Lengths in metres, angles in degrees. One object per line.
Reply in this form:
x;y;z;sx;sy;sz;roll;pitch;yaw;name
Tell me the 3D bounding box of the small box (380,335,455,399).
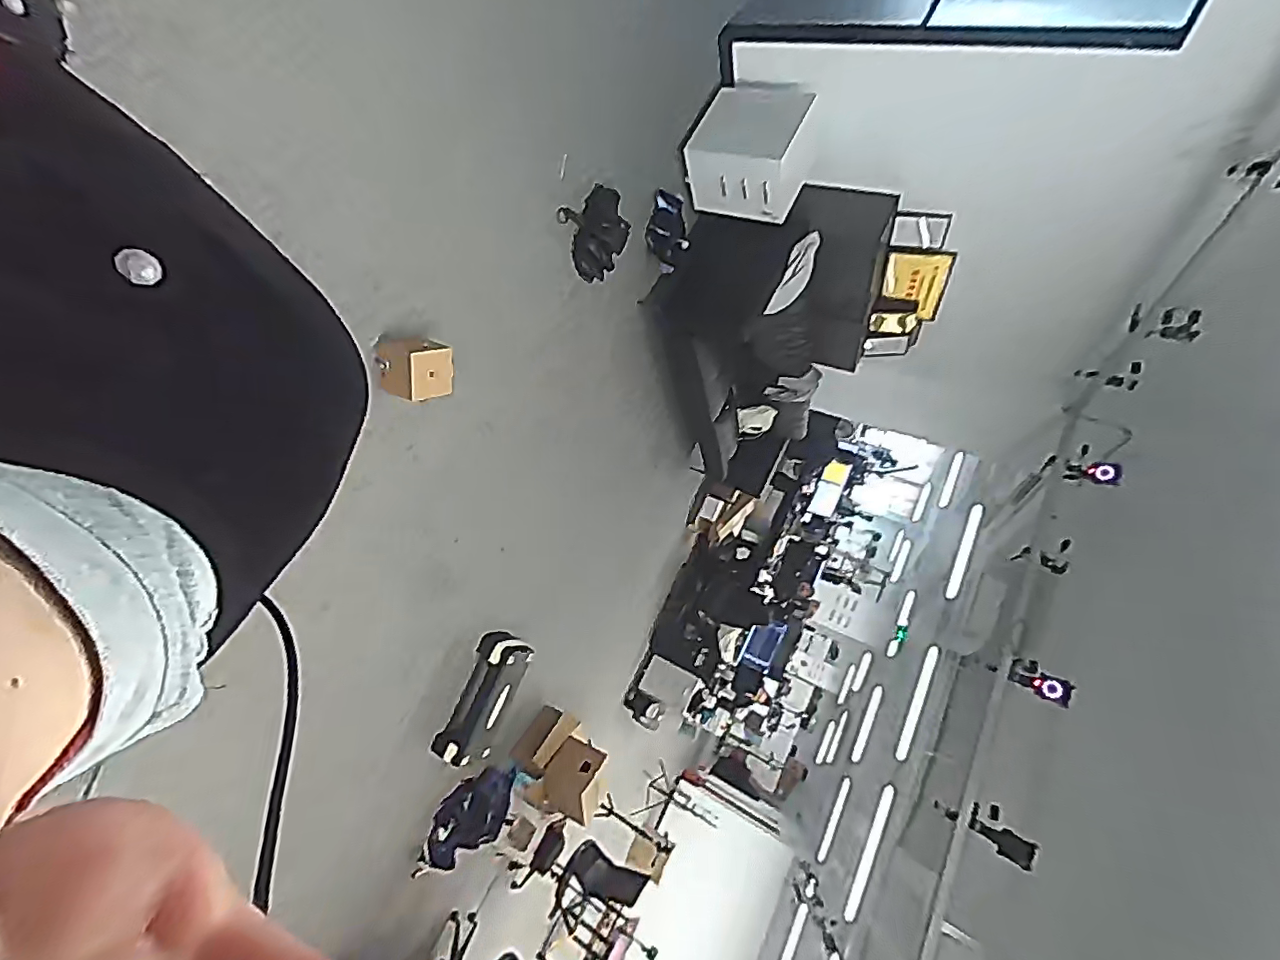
-0.760;-0.393;1.854;0.179;0.176;0.168;-32;136;-53;small box
